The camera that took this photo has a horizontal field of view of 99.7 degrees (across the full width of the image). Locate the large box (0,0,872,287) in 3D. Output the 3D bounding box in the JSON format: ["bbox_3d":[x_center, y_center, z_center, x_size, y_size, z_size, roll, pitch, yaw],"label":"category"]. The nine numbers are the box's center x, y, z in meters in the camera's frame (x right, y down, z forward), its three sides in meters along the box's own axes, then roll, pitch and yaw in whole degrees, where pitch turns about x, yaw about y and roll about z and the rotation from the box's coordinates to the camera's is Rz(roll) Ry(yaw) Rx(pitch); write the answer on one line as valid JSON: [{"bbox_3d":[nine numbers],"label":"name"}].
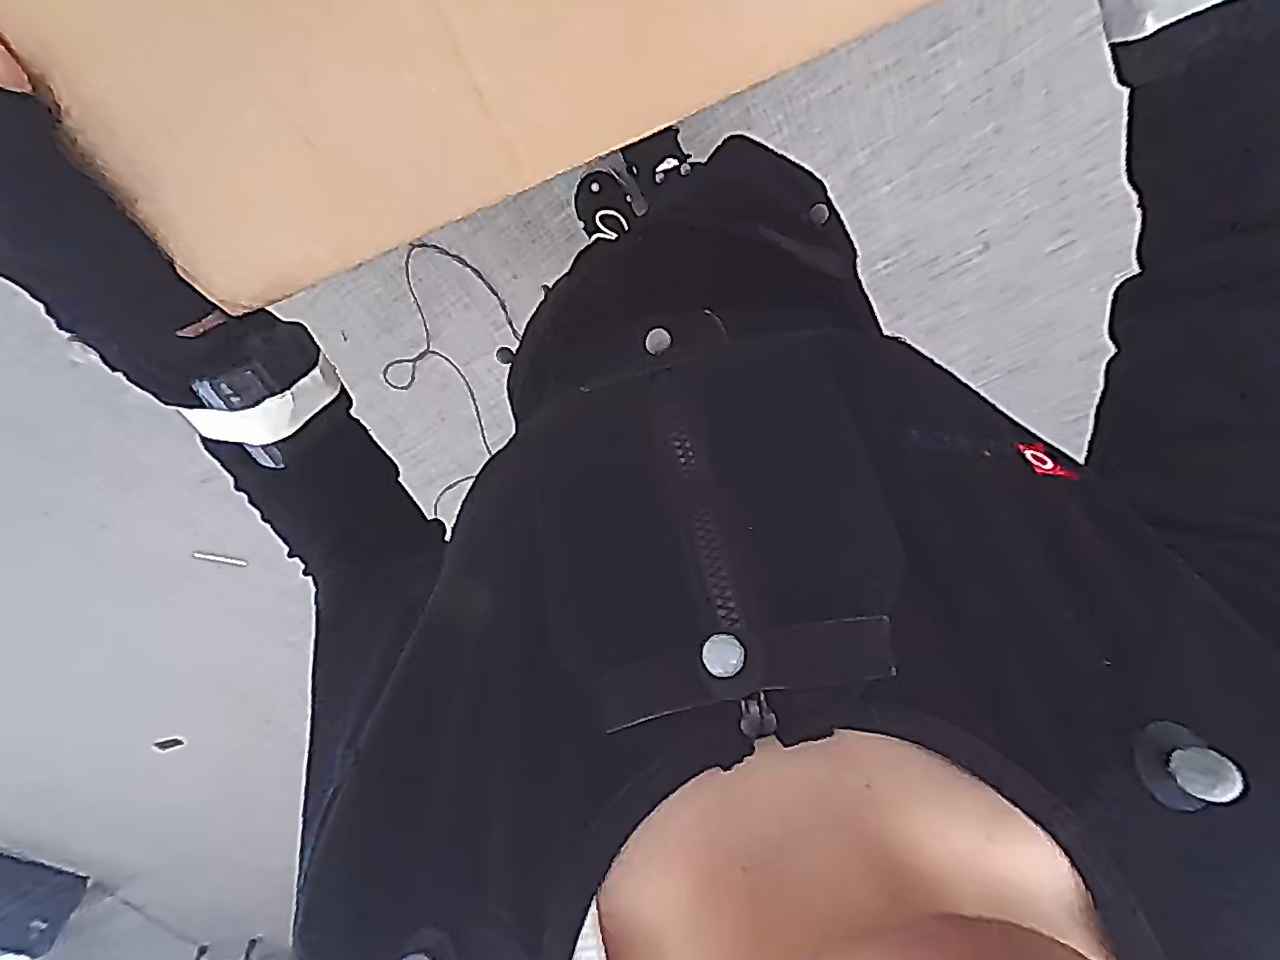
[{"bbox_3d":[-0.087,-0.358,0.215,0.408,0.320,0.320,-18,140,10],"label":"large box"}]
